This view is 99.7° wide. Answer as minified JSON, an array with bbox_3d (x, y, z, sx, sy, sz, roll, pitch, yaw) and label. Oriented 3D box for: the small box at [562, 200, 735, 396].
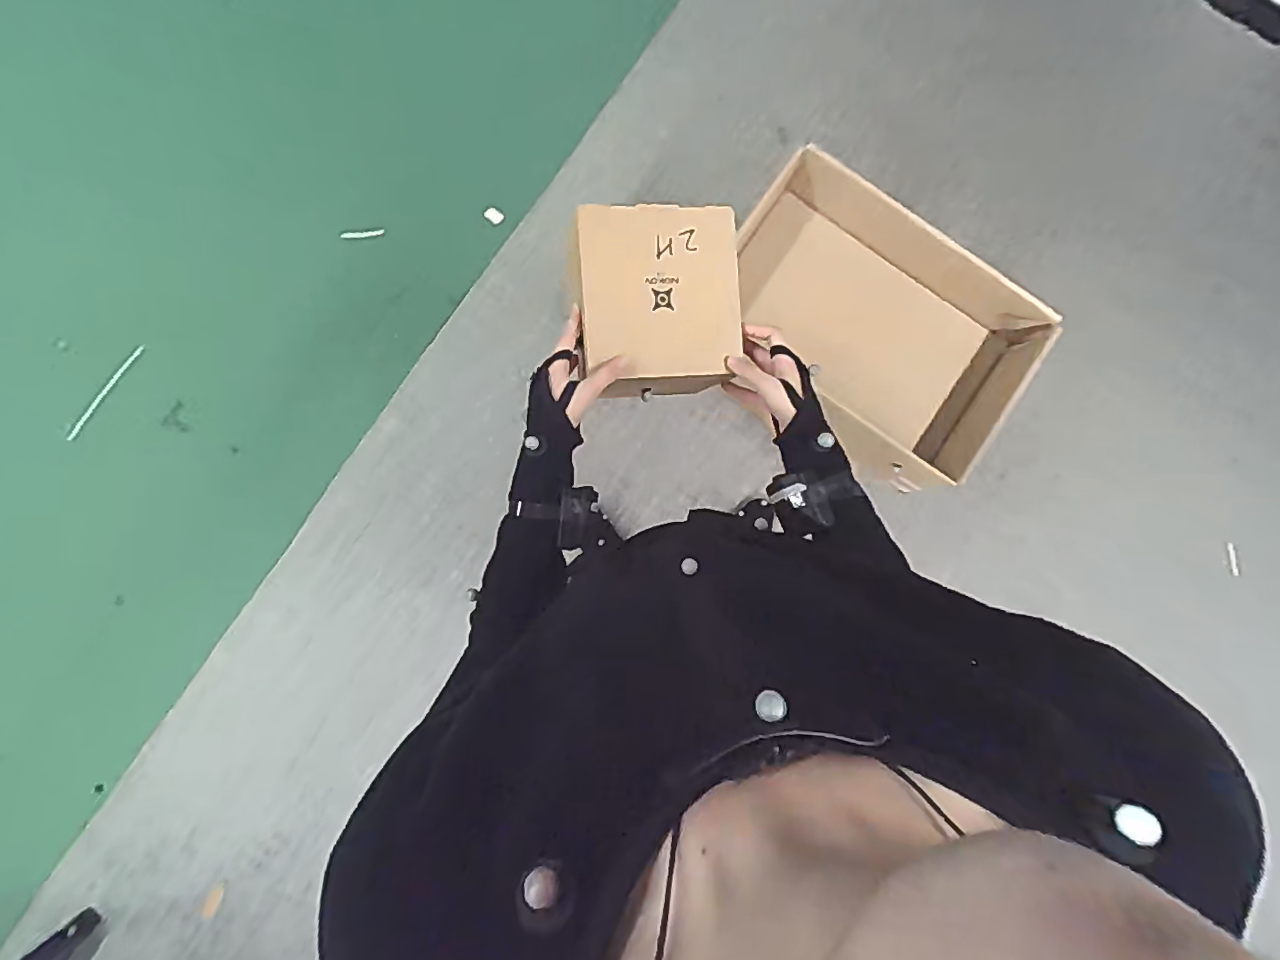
[{"bbox_3d":[0.000,-0.191,0.617,0.168,0.176,0.179,-4,92,-11],"label":"small box"}]
